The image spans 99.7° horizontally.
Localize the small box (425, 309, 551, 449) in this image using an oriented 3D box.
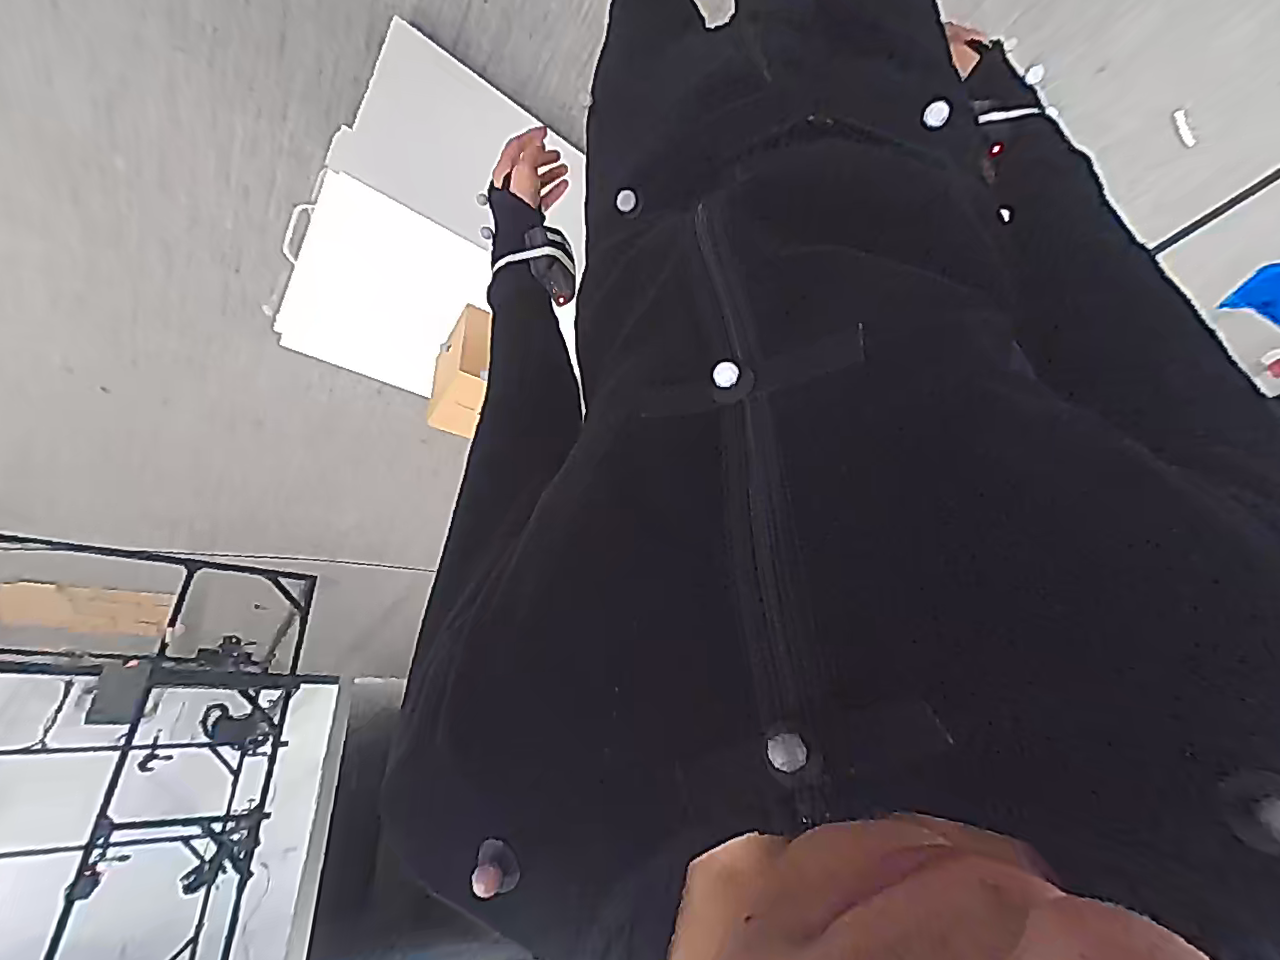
[{"bbox_3d":[-0.282,-0.189,1.020,0.179,0.176,0.168,18,140,-33],"label":"small box"}]
